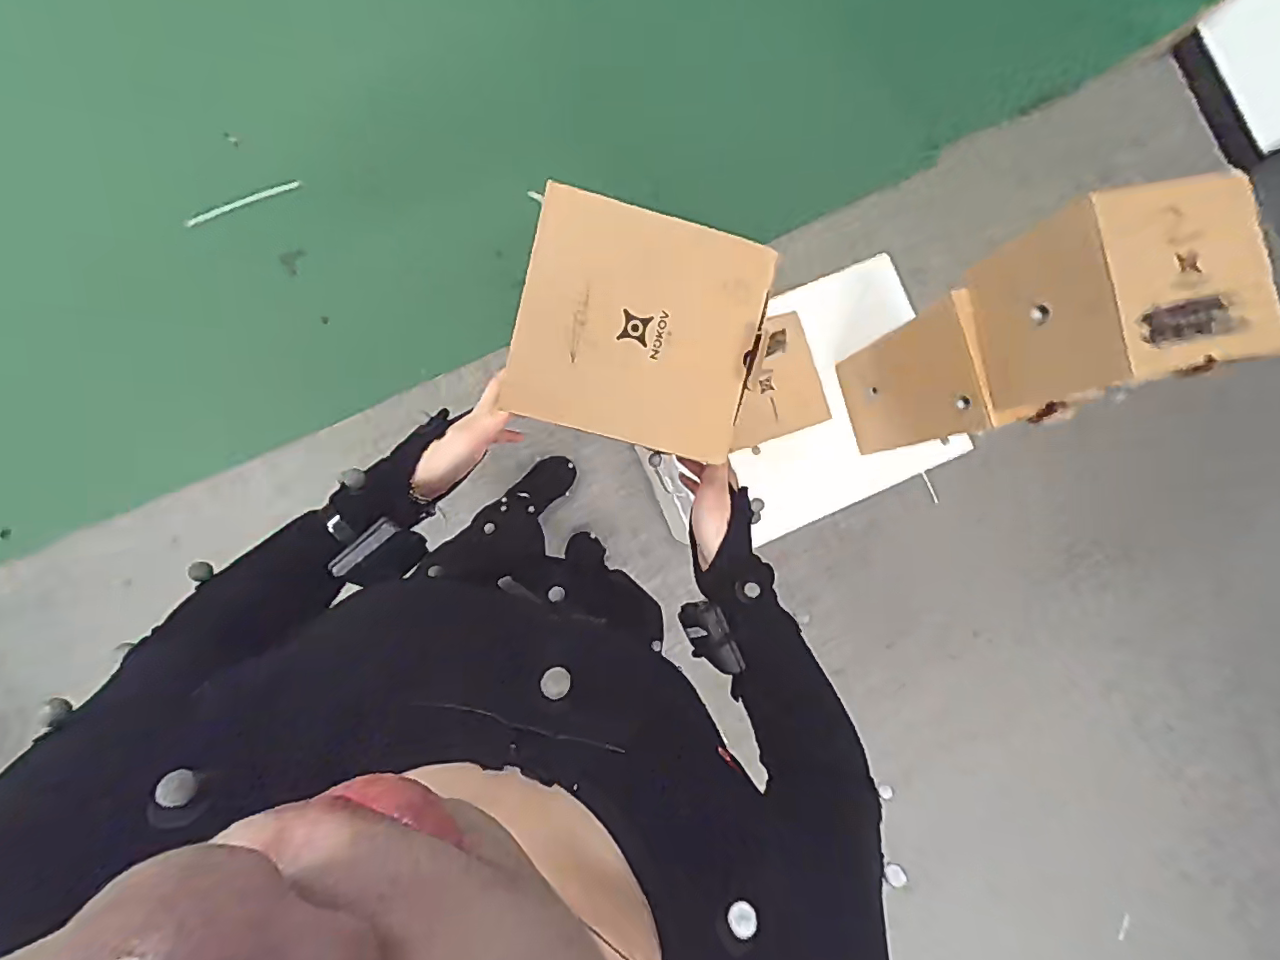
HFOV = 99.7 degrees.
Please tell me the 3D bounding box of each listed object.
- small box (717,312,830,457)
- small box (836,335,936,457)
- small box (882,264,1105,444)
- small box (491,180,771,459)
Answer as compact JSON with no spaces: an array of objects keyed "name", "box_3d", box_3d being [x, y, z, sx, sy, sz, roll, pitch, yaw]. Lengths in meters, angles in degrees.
[{"name":"small box","box_3d":[0.172,-0.143,0.873,0.168,0.176,0.179,-17,90,-7]},{"name":"small box","box_3d":[0.454,-0.149,0.902,0.168,0.176,0.179,-16,88,-5]},{"name":"small box","box_3d":[0.465,-0.161,0.740,0.168,0.176,0.179,-16,89,-6]},{"name":"small box","box_3d":[-0.013,-0.121,0.471,0.179,0.176,0.168,13,94,-6]}]
